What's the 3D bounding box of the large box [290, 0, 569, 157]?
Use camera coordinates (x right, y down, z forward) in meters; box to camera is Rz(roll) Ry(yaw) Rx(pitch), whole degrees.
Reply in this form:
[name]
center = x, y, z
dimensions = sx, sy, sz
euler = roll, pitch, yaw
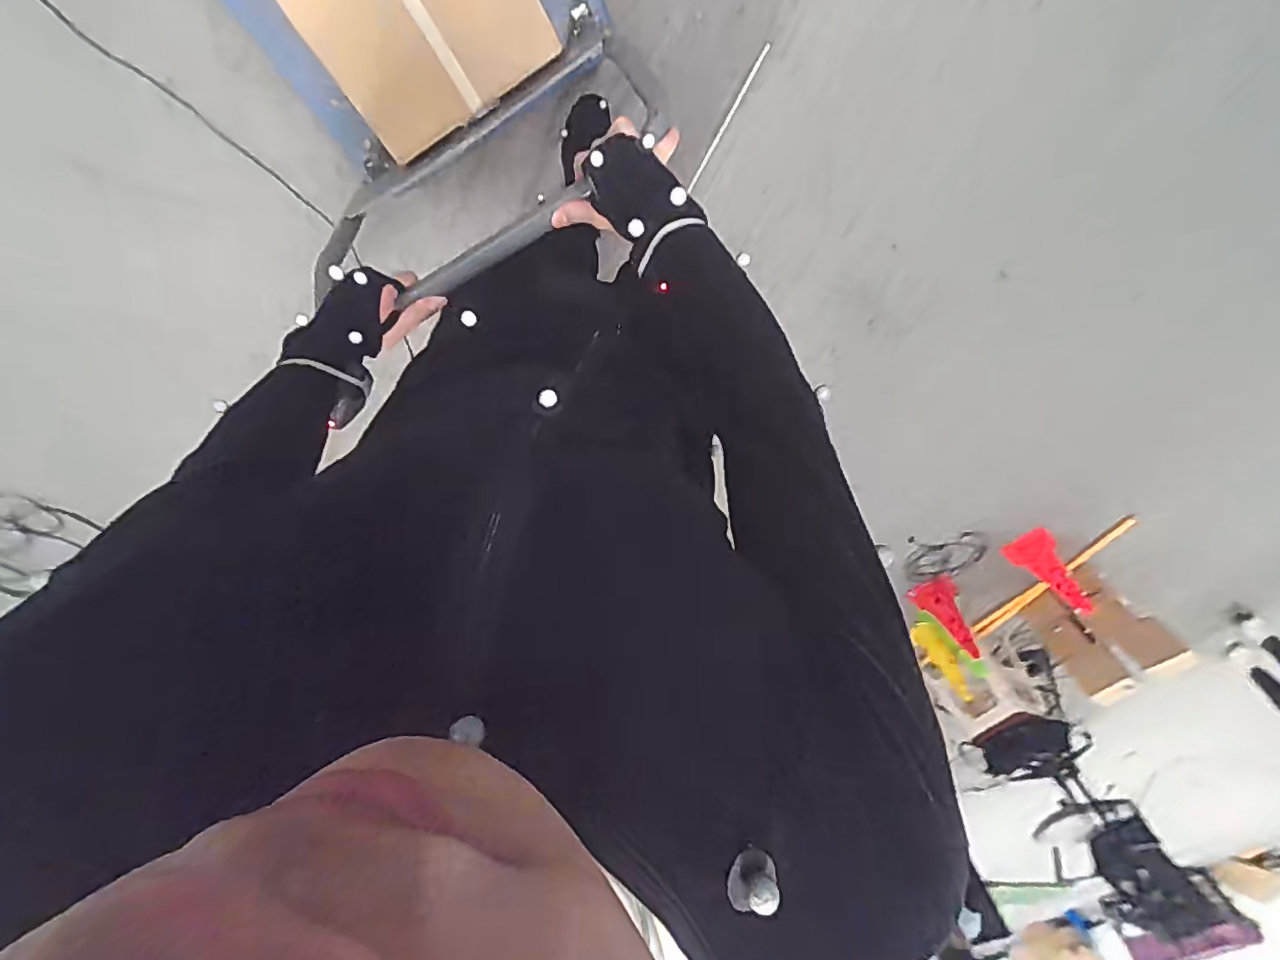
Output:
[large box]
center = -0.343, -0.789, 0.805
dimensions = 0.320, 0.320, 0.408
euler = -27, 130, 12
